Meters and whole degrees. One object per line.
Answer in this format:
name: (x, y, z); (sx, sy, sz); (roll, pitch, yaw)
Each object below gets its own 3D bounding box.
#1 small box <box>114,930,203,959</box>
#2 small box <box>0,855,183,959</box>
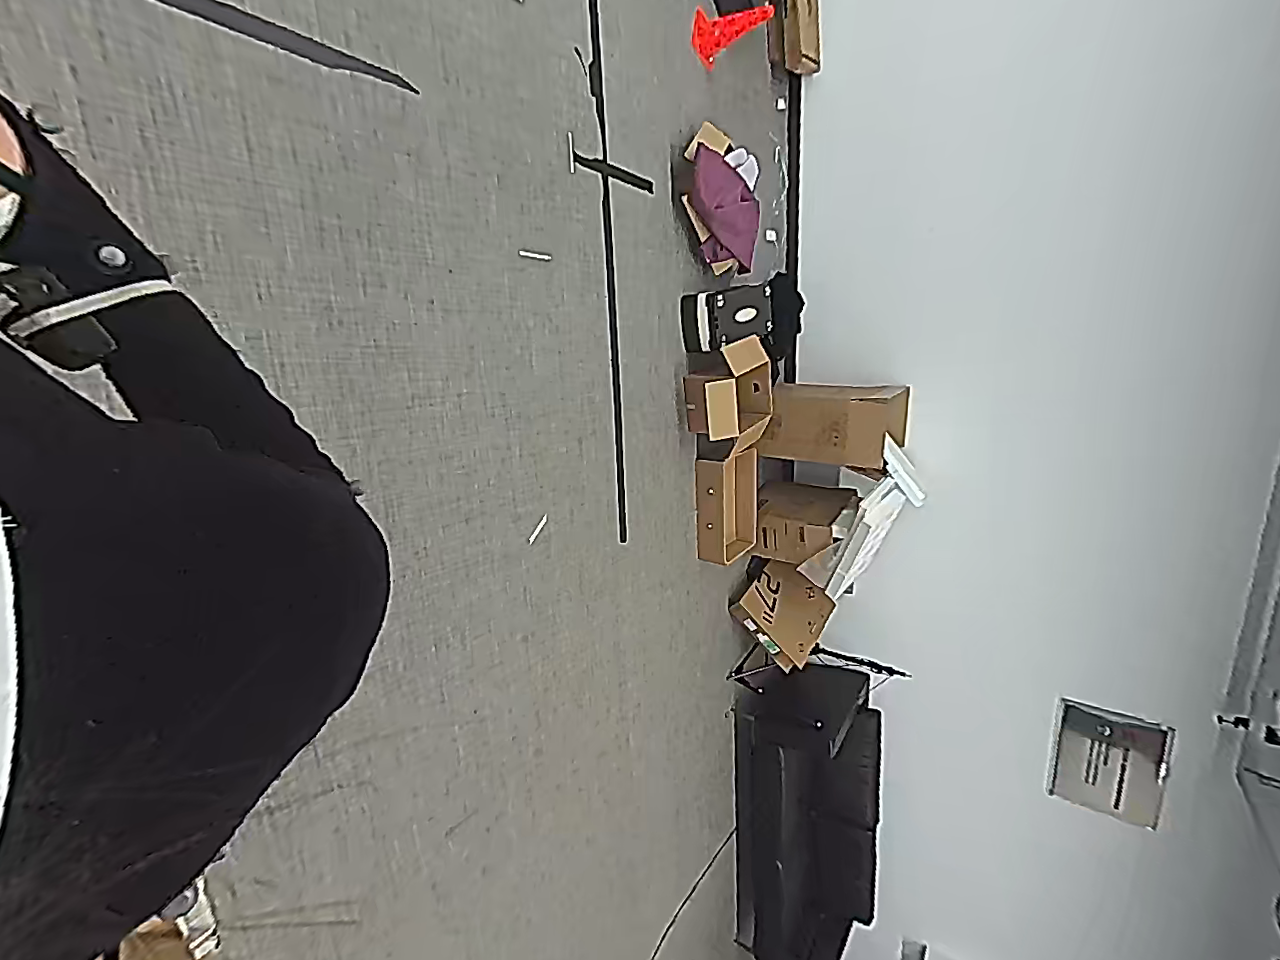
small box: (-0.614, 0.697, 0.646); (0.168, 0.176, 0.179); (-19, 108, -52)
small box: (-0.744, 0.673, 0.743); (0.168, 0.176, 0.179); (-22, 110, -51)
